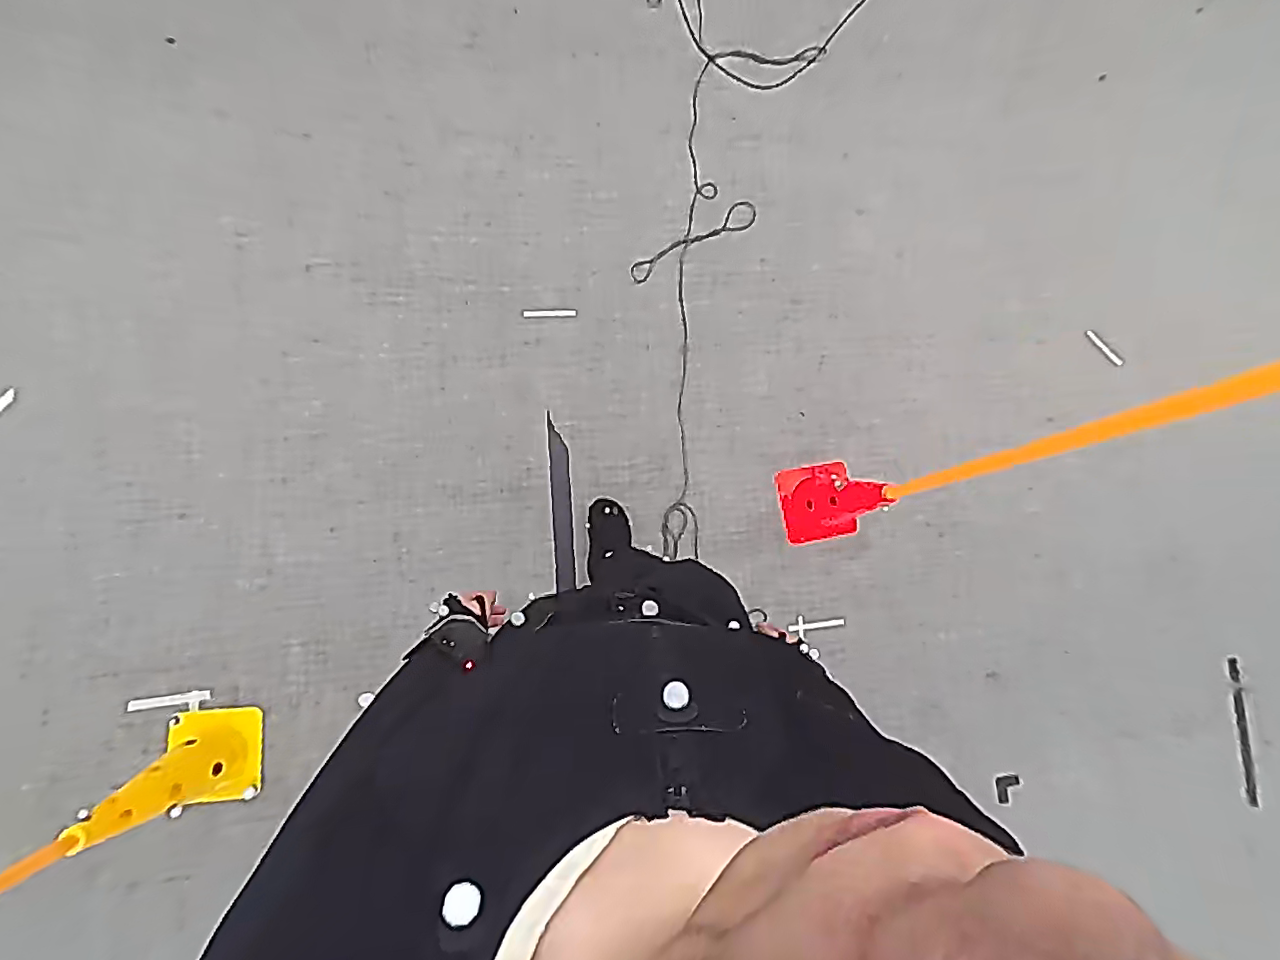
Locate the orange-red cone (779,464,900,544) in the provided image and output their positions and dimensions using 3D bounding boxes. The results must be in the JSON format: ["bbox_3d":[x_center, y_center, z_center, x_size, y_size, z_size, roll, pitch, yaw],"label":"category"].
[{"bbox_3d":[0.489,0.044,1.258,0.199,0.360,0.198,-9,84,-6],"label":"orange-red cone"}]
